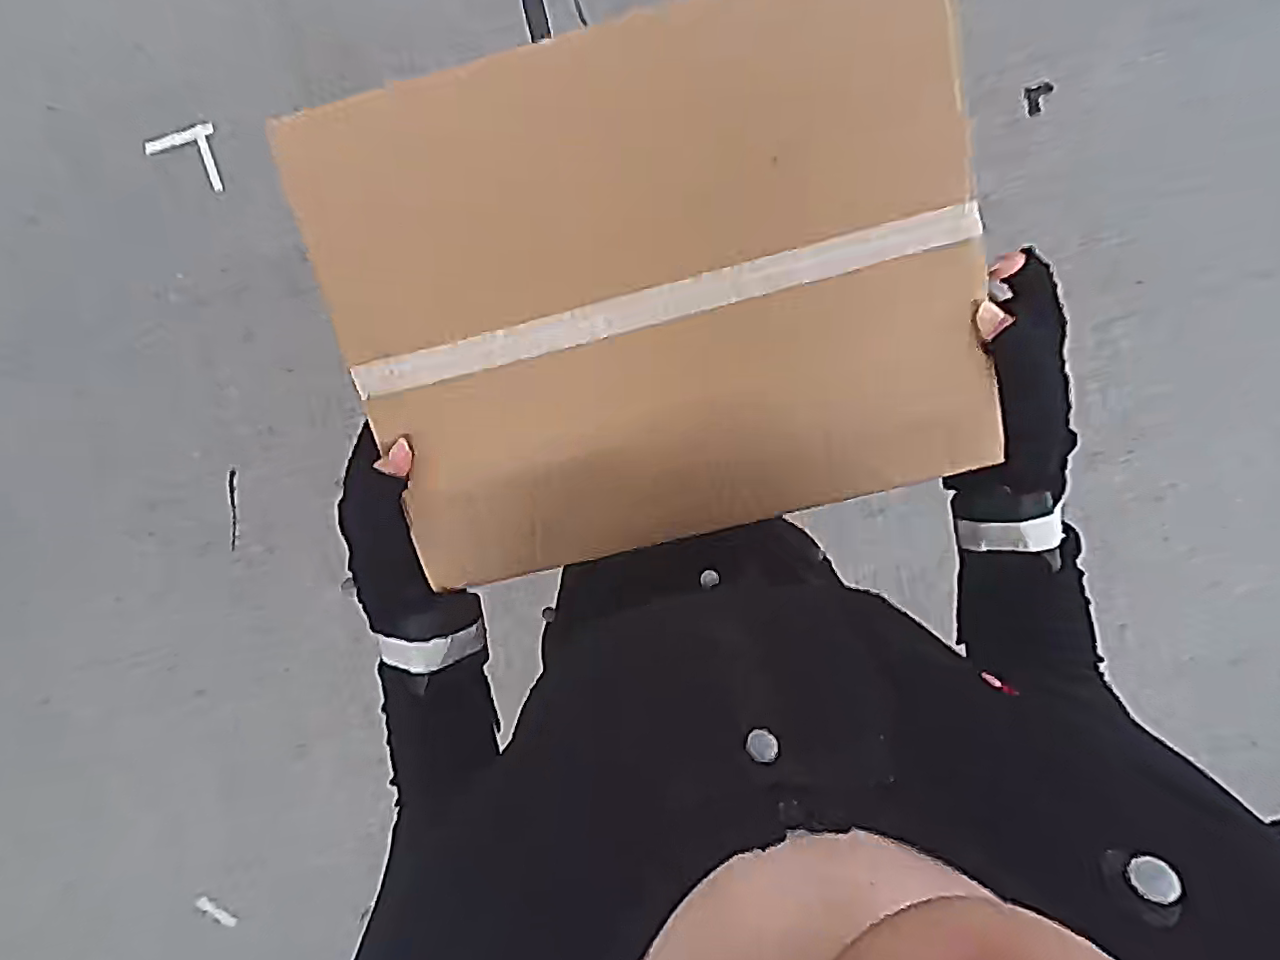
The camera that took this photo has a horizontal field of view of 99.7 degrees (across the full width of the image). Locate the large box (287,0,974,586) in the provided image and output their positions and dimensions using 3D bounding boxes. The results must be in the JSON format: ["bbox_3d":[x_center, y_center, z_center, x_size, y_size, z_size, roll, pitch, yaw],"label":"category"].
[{"bbox_3d":[0.008,-0.147,0.502,0.408,0.320,0.320,-14,102,4],"label":"large box"}]
